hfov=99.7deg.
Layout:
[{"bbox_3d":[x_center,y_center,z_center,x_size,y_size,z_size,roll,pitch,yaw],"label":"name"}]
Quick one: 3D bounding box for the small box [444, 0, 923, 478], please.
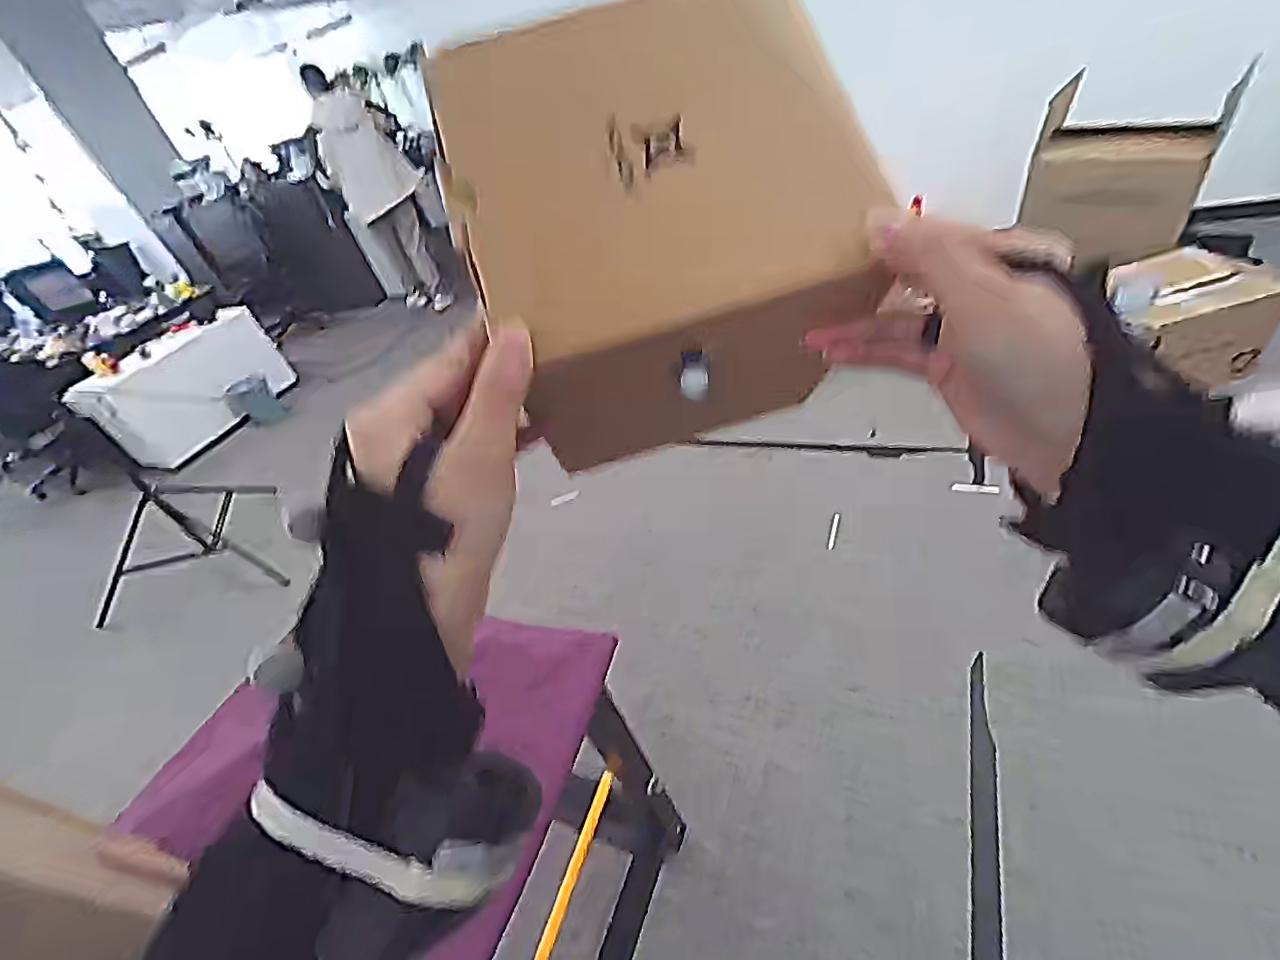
[{"bbox_3d":[0.015,-0.114,0.313,0.179,0.176,0.168,-17,77,-2],"label":"small box"}]
